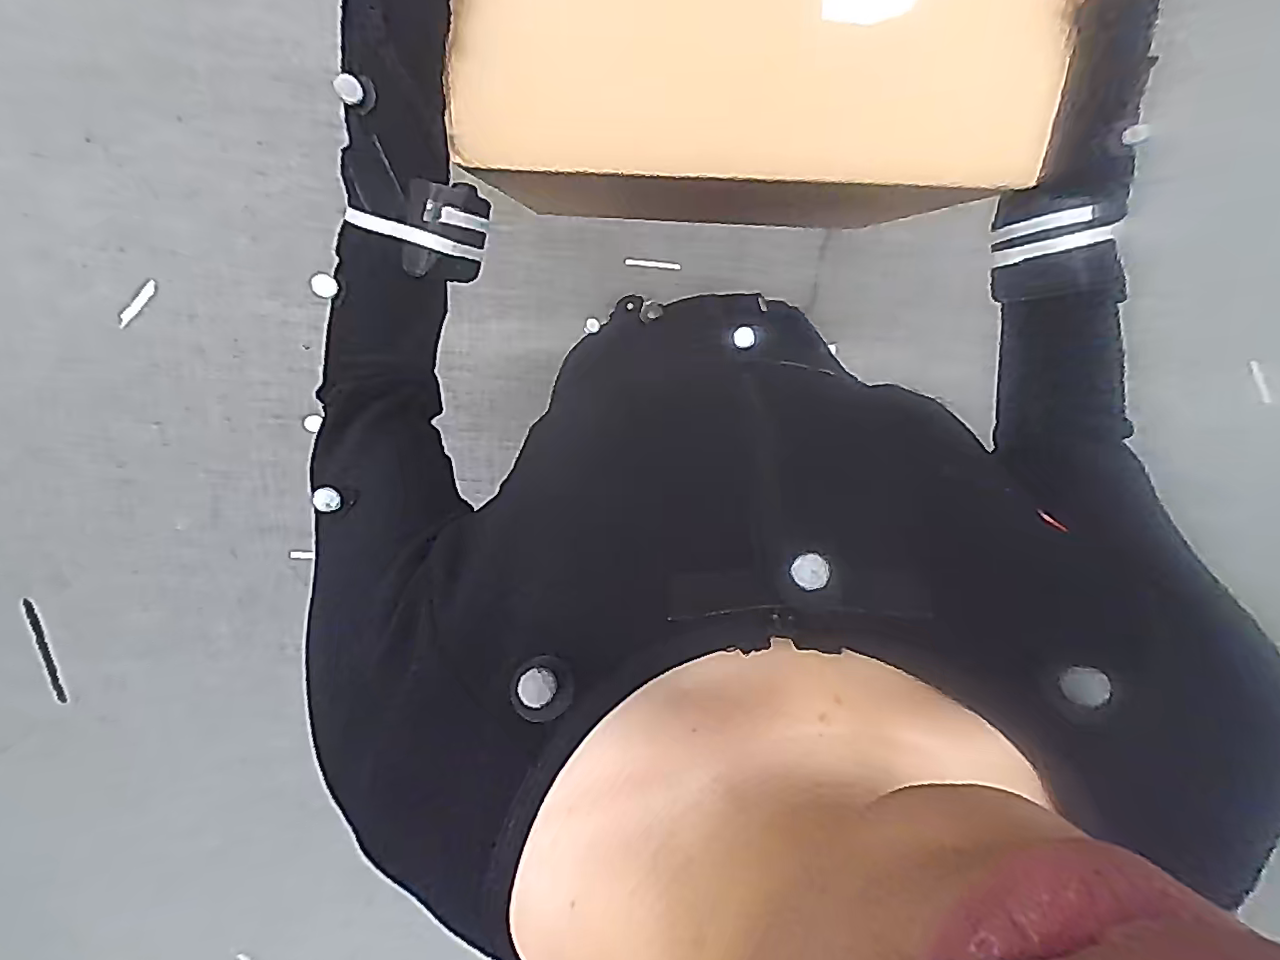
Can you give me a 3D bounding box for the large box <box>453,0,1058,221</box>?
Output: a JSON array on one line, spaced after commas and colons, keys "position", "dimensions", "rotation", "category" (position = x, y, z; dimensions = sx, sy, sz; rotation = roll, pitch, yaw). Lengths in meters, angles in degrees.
[{"position": [0.075, -0.416, 0.474], "dimensions": [0.408, 0.320, 0.320], "rotation": [2, 110, -1], "category": "large box"}]
